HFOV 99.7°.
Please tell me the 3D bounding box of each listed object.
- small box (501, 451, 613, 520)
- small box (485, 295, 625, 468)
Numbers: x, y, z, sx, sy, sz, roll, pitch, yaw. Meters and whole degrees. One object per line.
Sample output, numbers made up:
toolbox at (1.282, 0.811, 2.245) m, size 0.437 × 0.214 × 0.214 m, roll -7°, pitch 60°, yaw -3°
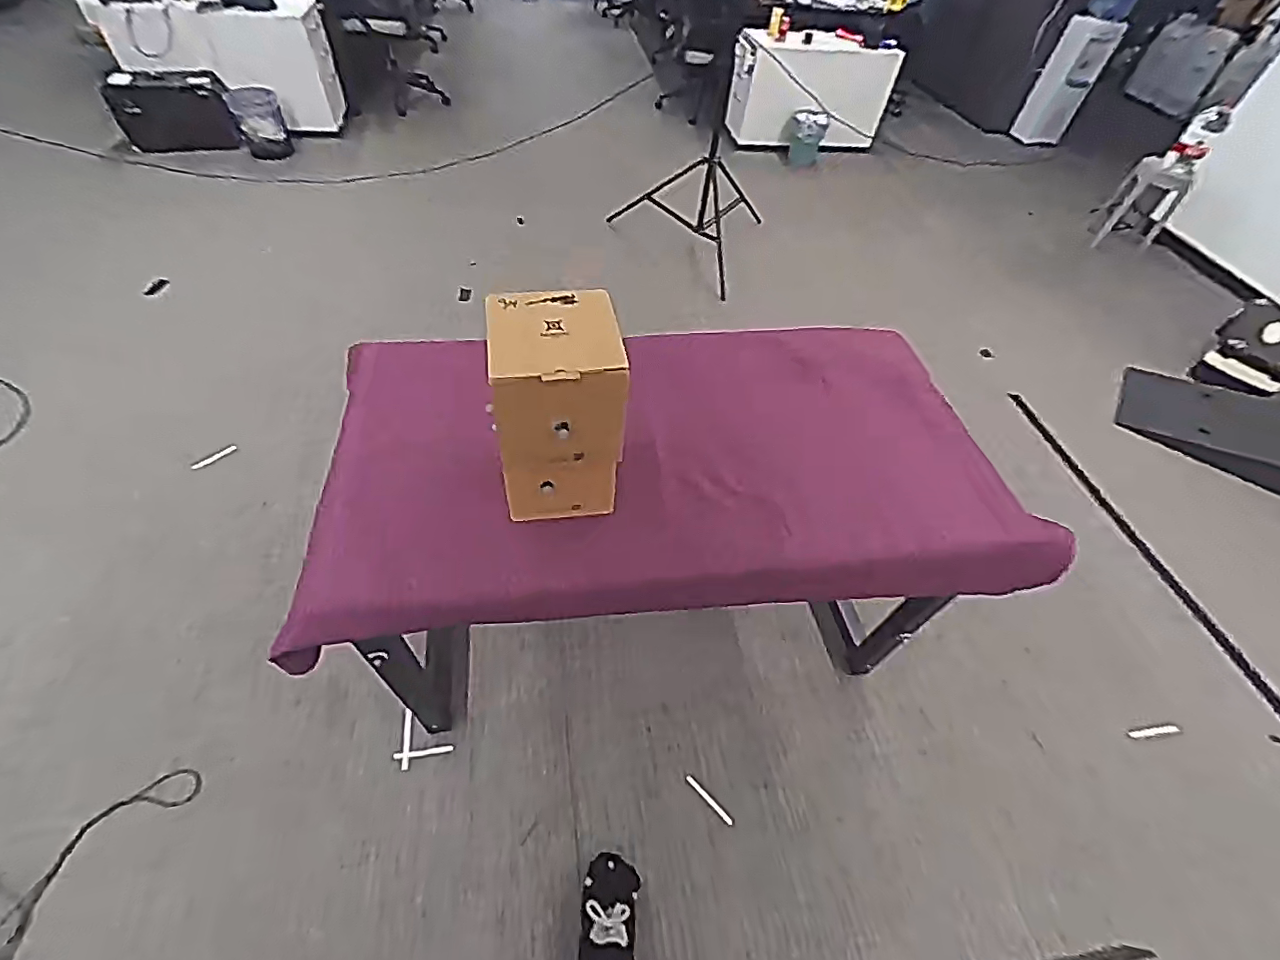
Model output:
small box at (-0.134, -0.047, 0.887) m, size 0.168 × 0.176 × 0.179 m, roll -5°, pitch 52°, yaw -9°
small box at (-0.116, -0.129, 0.743) m, size 0.168 × 0.176 × 0.179 m, roll -6°, pitch 53°, yaw -10°
